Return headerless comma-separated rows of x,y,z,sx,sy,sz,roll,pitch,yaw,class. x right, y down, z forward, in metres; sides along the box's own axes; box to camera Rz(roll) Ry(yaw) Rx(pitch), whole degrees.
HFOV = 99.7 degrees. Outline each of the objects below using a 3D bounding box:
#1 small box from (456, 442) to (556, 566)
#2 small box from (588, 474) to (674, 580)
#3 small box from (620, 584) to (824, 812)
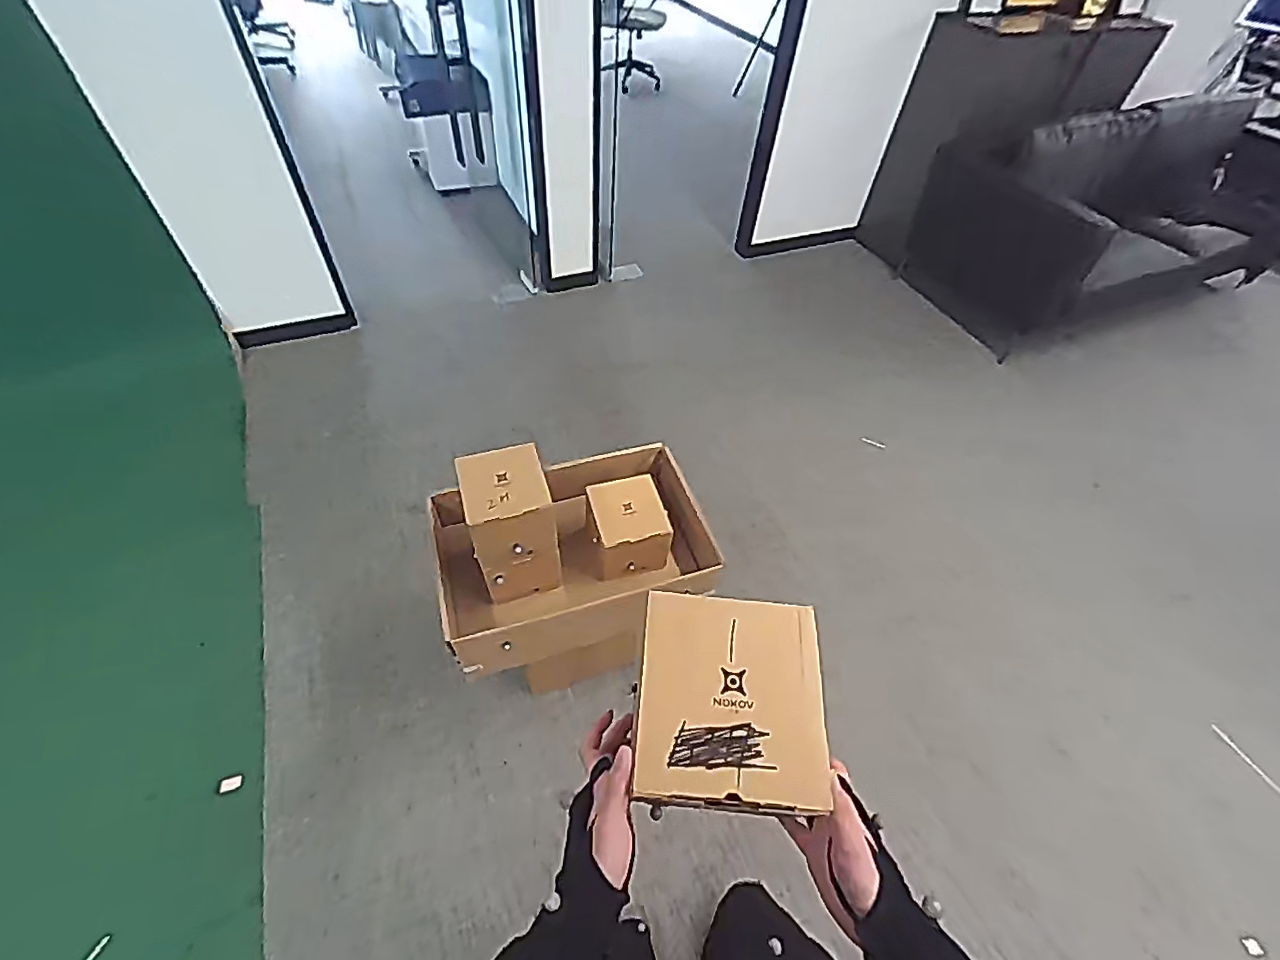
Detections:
-0.277,0.051,1.128,0.168,0.176,0.179,-13,53,-14,small box
-0.030,0.115,1.312,0.168,0.176,0.179,-12,54,-14,small box
0.071,0.223,0.541,0.168,0.176,0.179,6,57,0,small box
